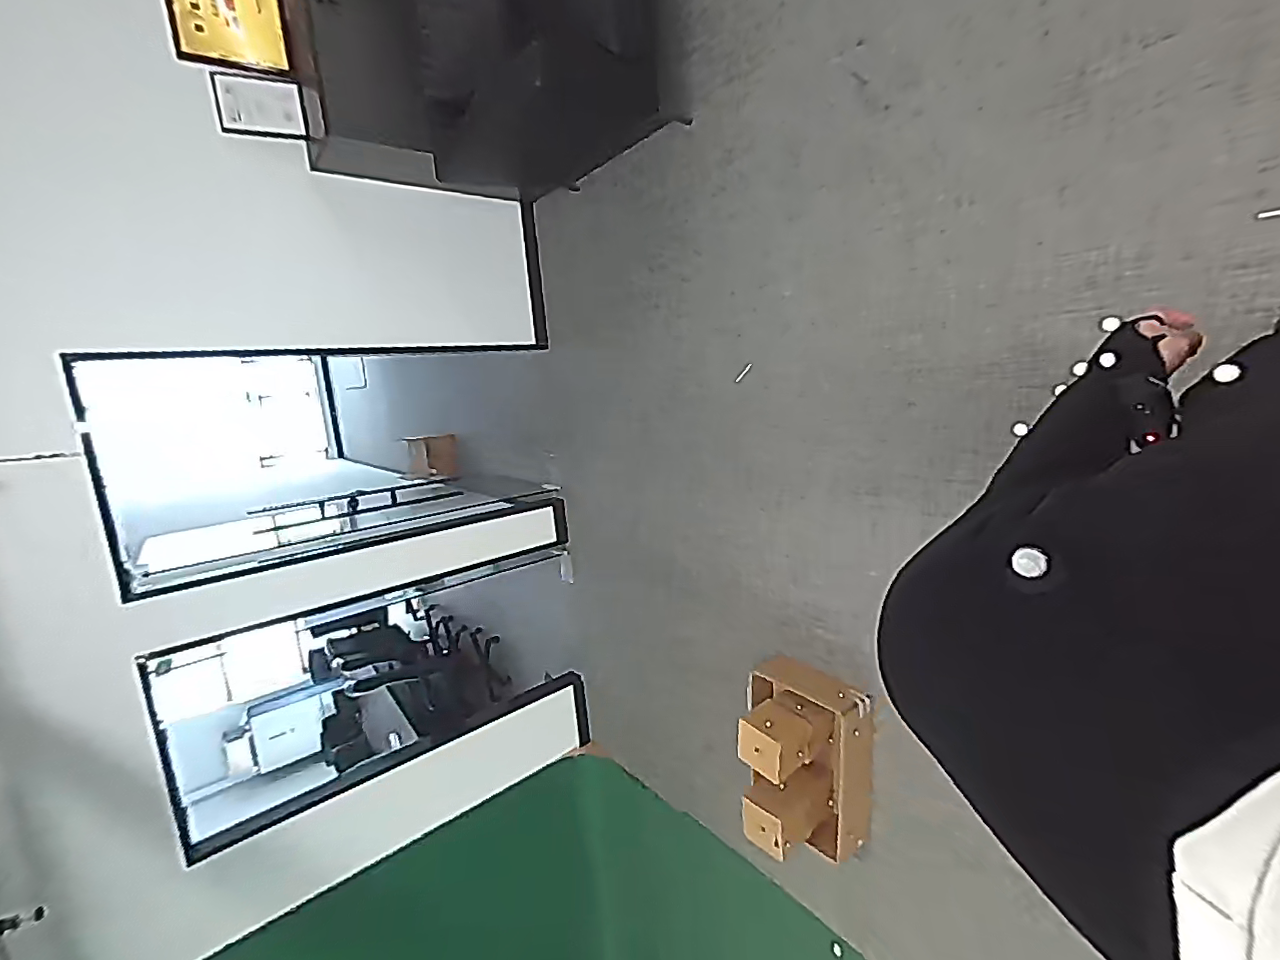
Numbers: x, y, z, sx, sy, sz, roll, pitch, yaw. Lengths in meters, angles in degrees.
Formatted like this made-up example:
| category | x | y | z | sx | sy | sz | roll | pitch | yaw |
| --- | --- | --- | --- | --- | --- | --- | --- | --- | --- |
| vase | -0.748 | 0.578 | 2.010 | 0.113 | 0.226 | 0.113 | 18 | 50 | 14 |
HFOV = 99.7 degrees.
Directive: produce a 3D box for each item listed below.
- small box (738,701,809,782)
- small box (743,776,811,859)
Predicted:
| category | x | y | z | sx | sy | sz | roll | pitch | yaw |
| --- | --- | --- | --- | --- | --- | --- | --- | --- | --- |
| small box | 0.470 | 0.908 | 1.904 | 0.179 | 0.176 | 0.168 | 15 | 111 | 47 |
| small box | 0.494 | 1.203 | 1.954 | 0.179 | 0.176 | 0.168 | 7 | 106 | 51 |
